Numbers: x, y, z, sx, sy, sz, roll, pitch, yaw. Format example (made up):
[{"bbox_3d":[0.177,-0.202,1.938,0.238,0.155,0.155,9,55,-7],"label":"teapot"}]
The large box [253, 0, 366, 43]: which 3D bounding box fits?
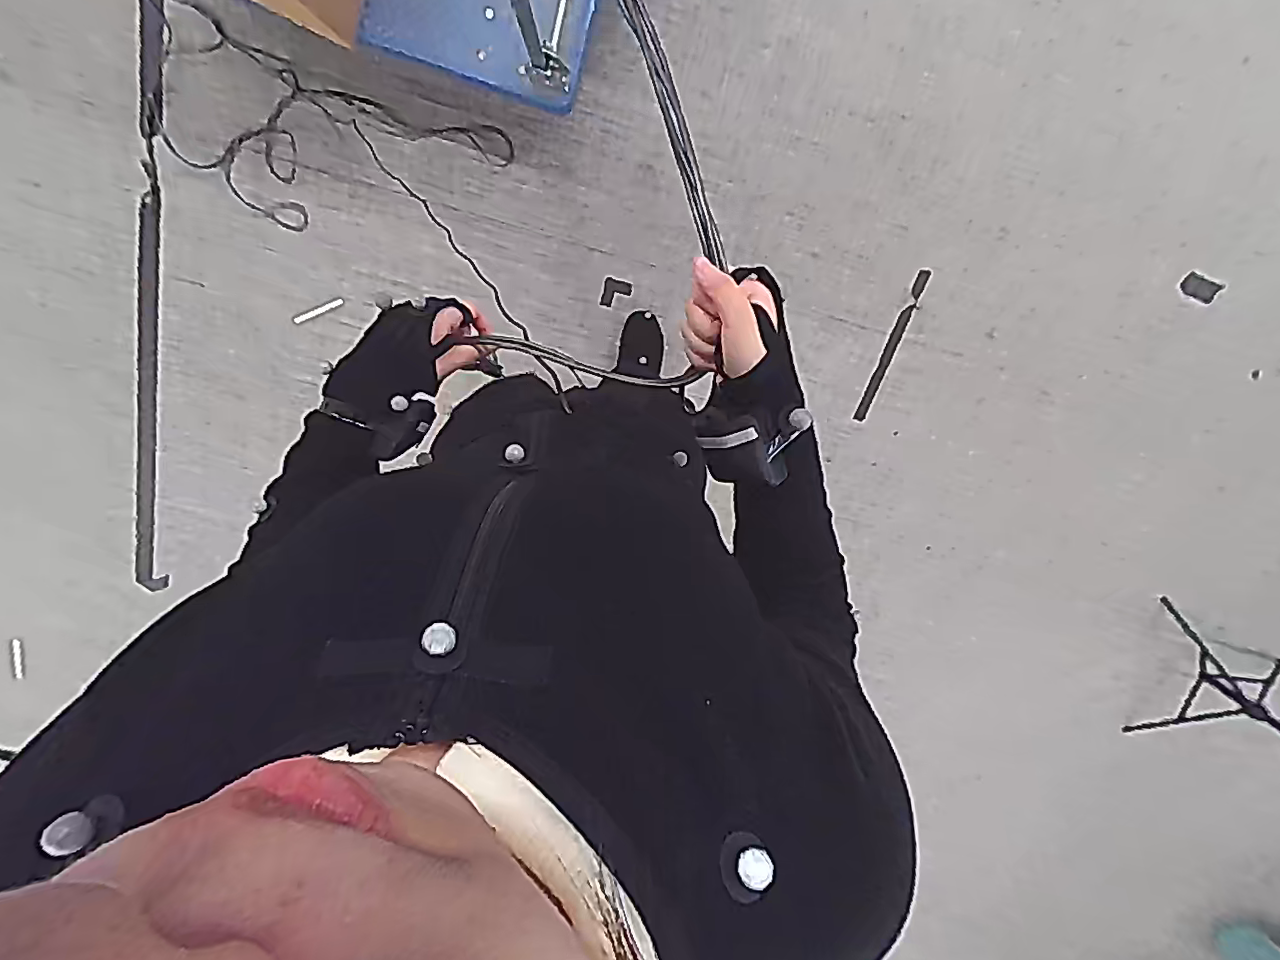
[{"bbox_3d":[-0.671,-0.985,0.831,0.408,0.320,0.320,22,106,-7],"label":"large box"}]
